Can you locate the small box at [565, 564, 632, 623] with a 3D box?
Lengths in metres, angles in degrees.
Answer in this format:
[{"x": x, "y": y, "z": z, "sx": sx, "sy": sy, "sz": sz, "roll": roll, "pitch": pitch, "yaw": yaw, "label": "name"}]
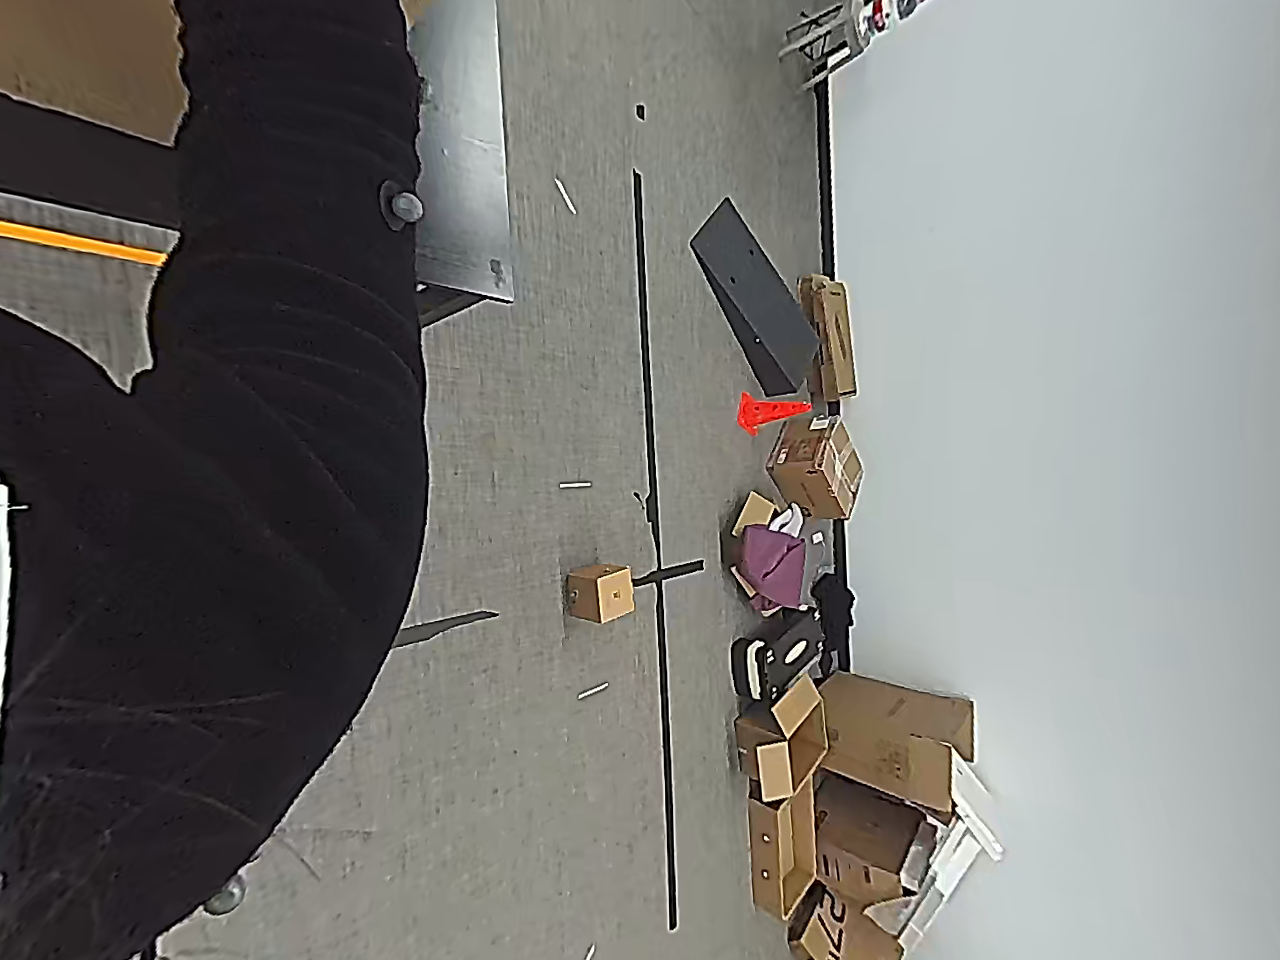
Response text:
[{"x": -0.154, "y": 0.415, "z": 2.009, "sx": 0.179, "sy": 0.176, "sz": 0.168, "roll": -11, "pitch": 96, "yaw": -46, "label": "small box"}]
